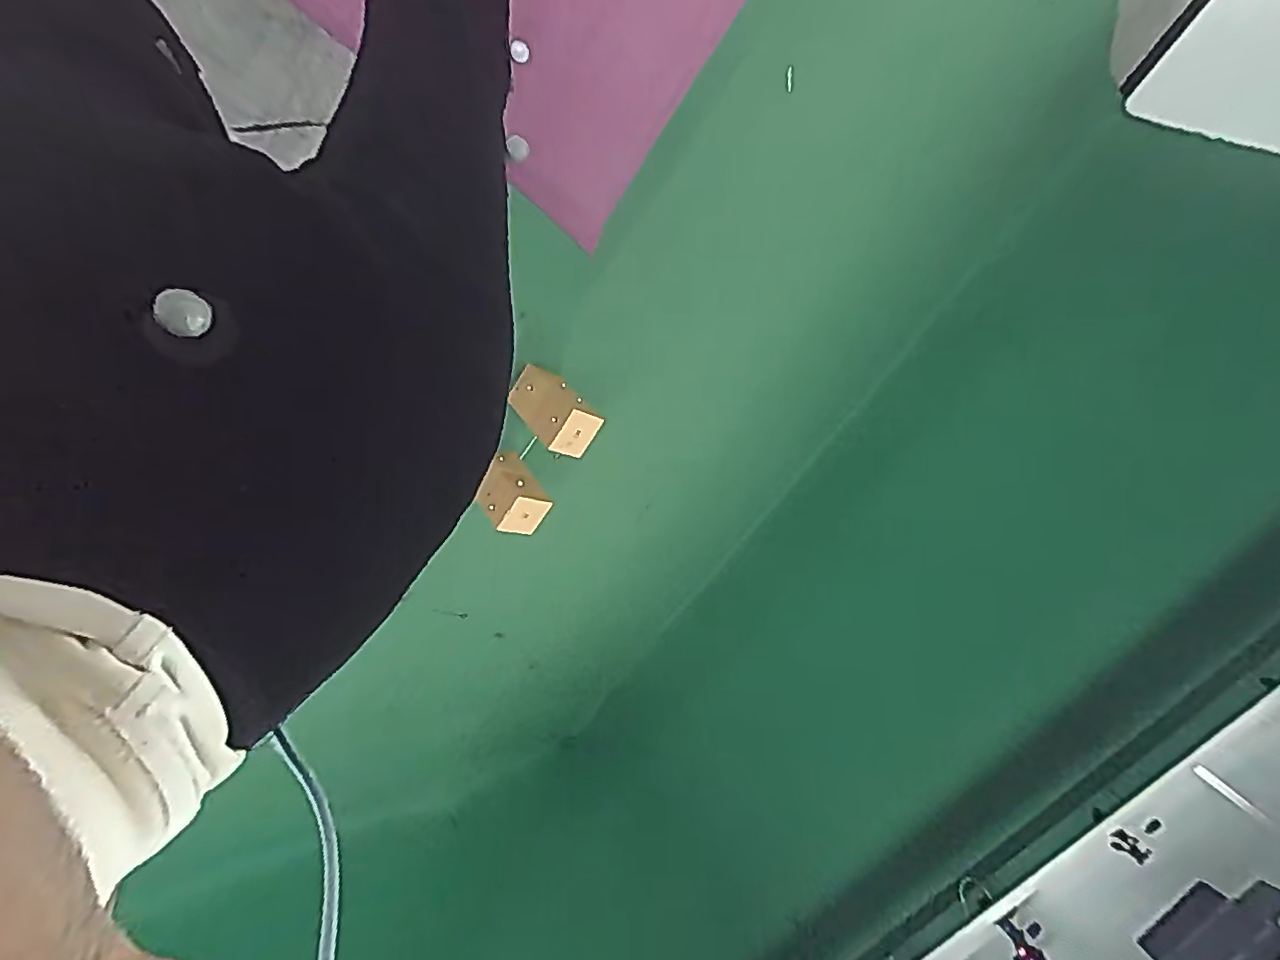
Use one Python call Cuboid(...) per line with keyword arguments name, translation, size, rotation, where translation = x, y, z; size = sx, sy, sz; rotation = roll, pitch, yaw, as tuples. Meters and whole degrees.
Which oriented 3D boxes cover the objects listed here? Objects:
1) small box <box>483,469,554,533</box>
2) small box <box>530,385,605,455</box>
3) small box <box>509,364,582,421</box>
Cuboid(name="small box", translation=(-0.469, 0.079, 2.064), size=(0.179, 0.176, 0.168), rotation=(15, 117, -53))
Cuboid(name="small box", translation=(-0.268, -0.218, 1.947), size=(0.168, 0.176, 0.179), rotation=(14, 117, -53))
Cuboid(name="small box", translation=(-0.362, -0.315, 2.040), size=(0.179, 0.176, 0.168), rotation=(14, 117, -53))
